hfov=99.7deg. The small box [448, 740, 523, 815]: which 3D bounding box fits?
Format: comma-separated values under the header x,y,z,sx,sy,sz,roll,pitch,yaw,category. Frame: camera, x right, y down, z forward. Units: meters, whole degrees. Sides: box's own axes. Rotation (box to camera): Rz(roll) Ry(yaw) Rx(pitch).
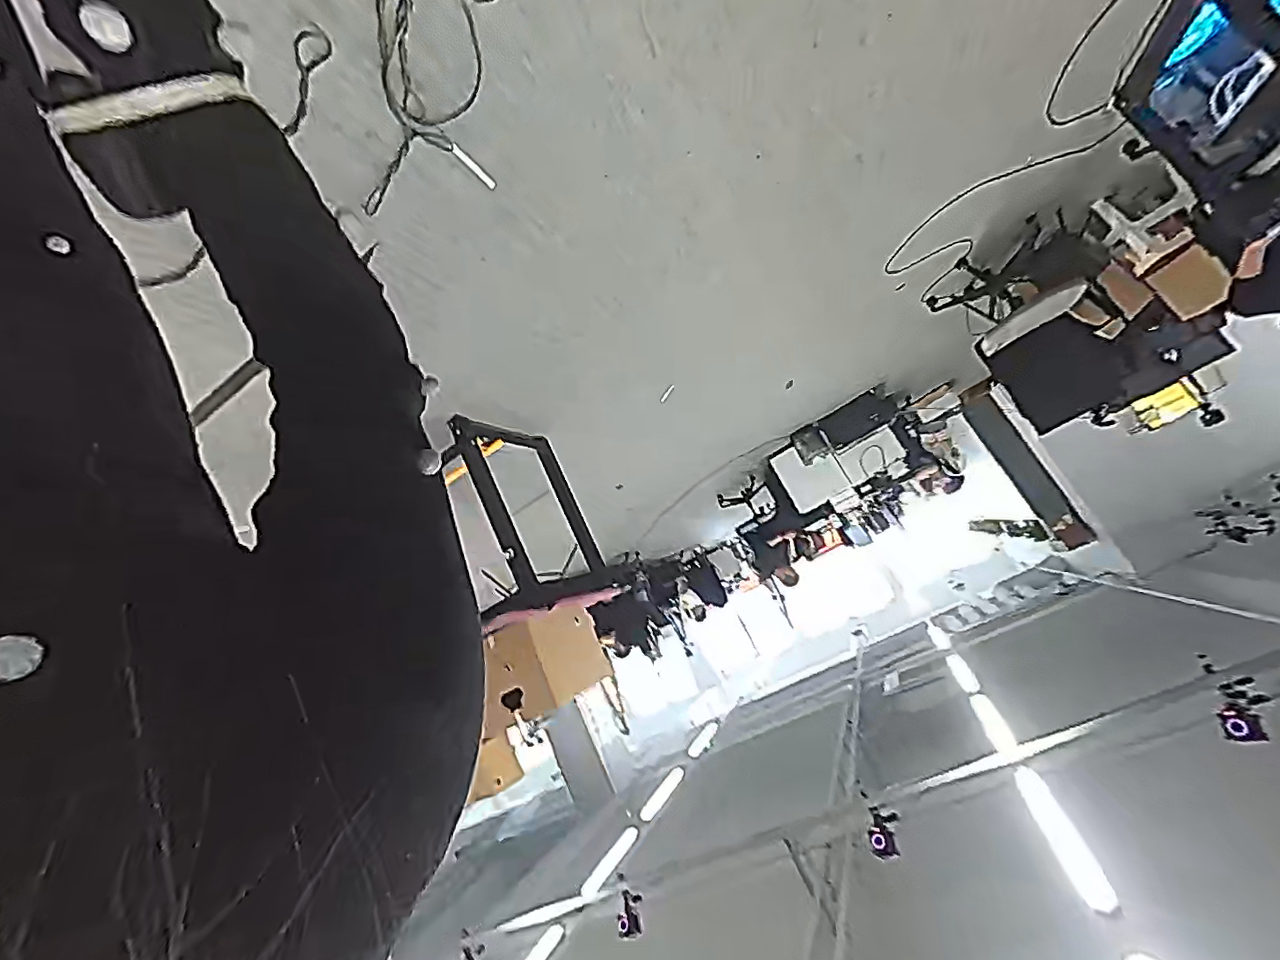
x,y,z,sx,sy,sz,roll,pitch,yaw,category
-0.565,1.080,1.976,0.168,0.176,0.179,-33,163,21,small box
